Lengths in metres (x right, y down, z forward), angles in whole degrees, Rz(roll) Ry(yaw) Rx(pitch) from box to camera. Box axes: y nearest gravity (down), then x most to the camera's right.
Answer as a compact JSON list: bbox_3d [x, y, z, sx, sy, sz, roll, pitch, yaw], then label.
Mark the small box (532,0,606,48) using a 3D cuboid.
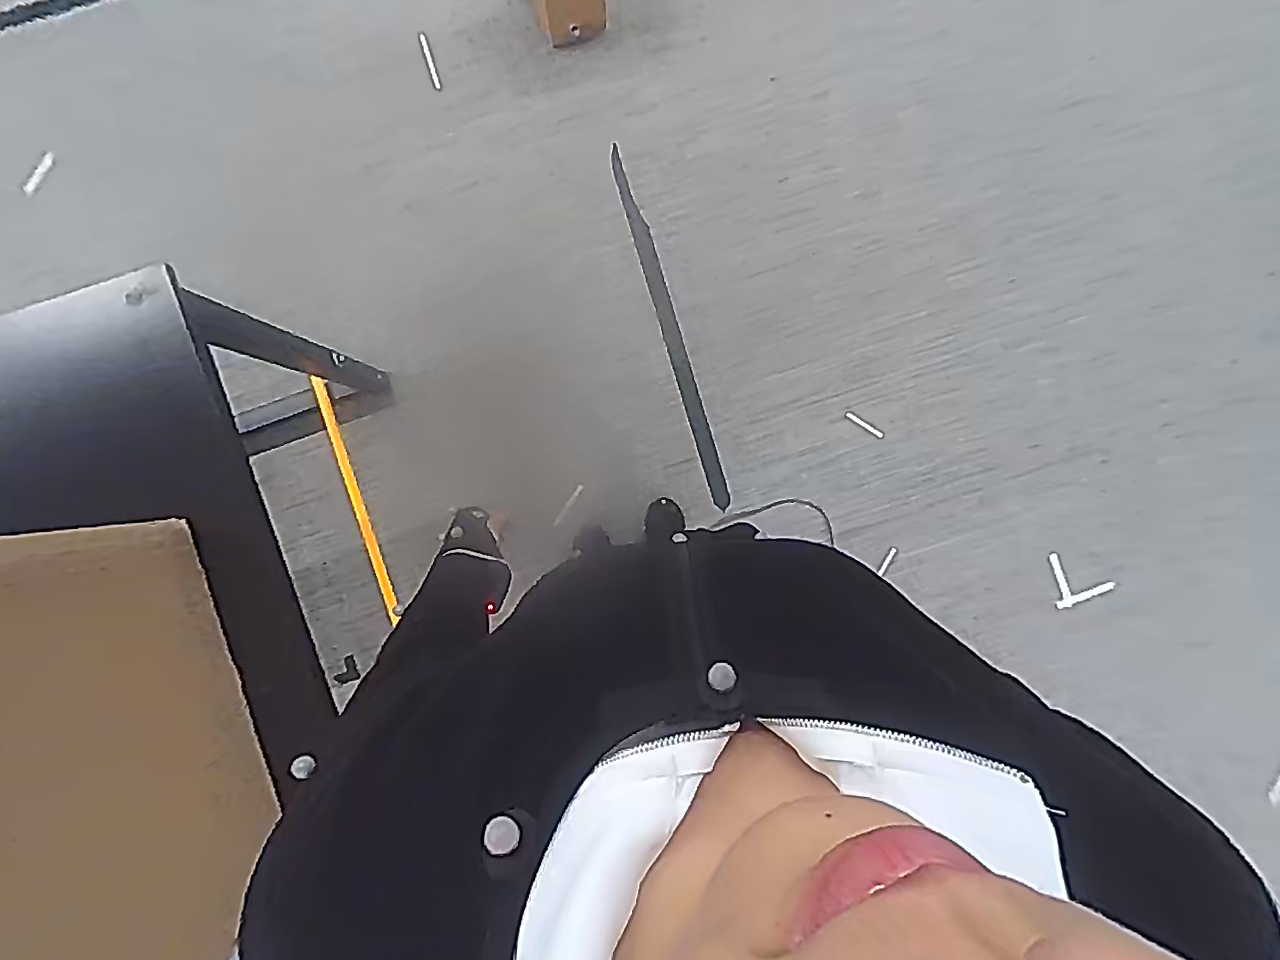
[{"bbox_3d":[-0.196,-1.287,1.400,0.168,0.176,0.179,-23,92,0],"label":"small box"}]
